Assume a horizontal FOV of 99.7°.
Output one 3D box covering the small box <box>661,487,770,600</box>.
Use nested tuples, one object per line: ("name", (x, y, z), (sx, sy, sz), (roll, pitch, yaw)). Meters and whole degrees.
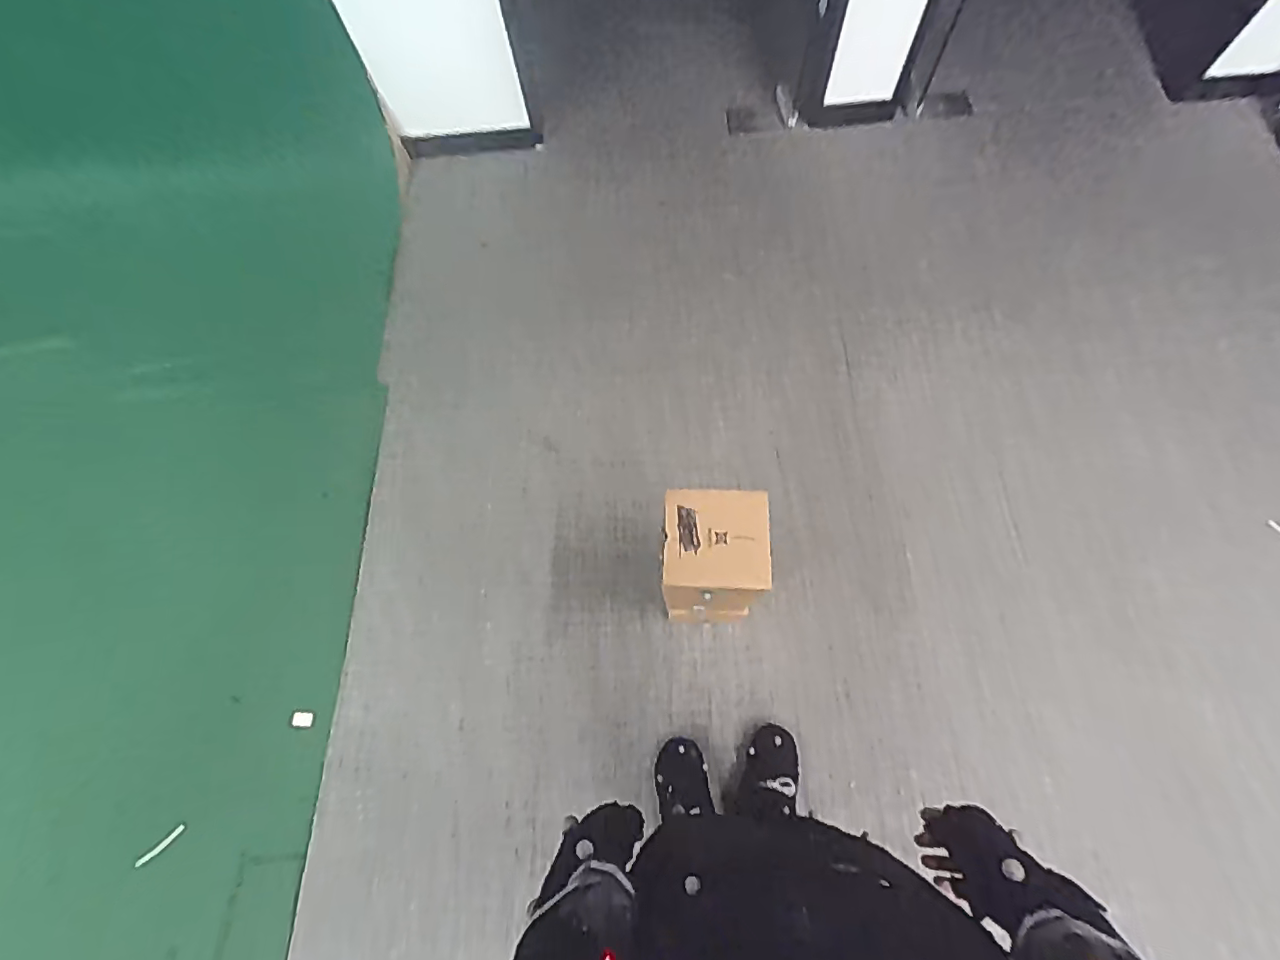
("small box", (0.132, 0.118, 0.966), (0.179, 0.176, 0.168), (1, 70, 5))

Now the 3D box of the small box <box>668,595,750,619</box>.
("small box", (0.156, 0.234, 1.271), (0.179, 0.176, 0.168), (0, 70, 4))

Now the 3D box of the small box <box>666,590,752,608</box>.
("small box", (0.139, 0.167, 1.123), (0.168, 0.176, 0.179), (-1, 71, 5))
